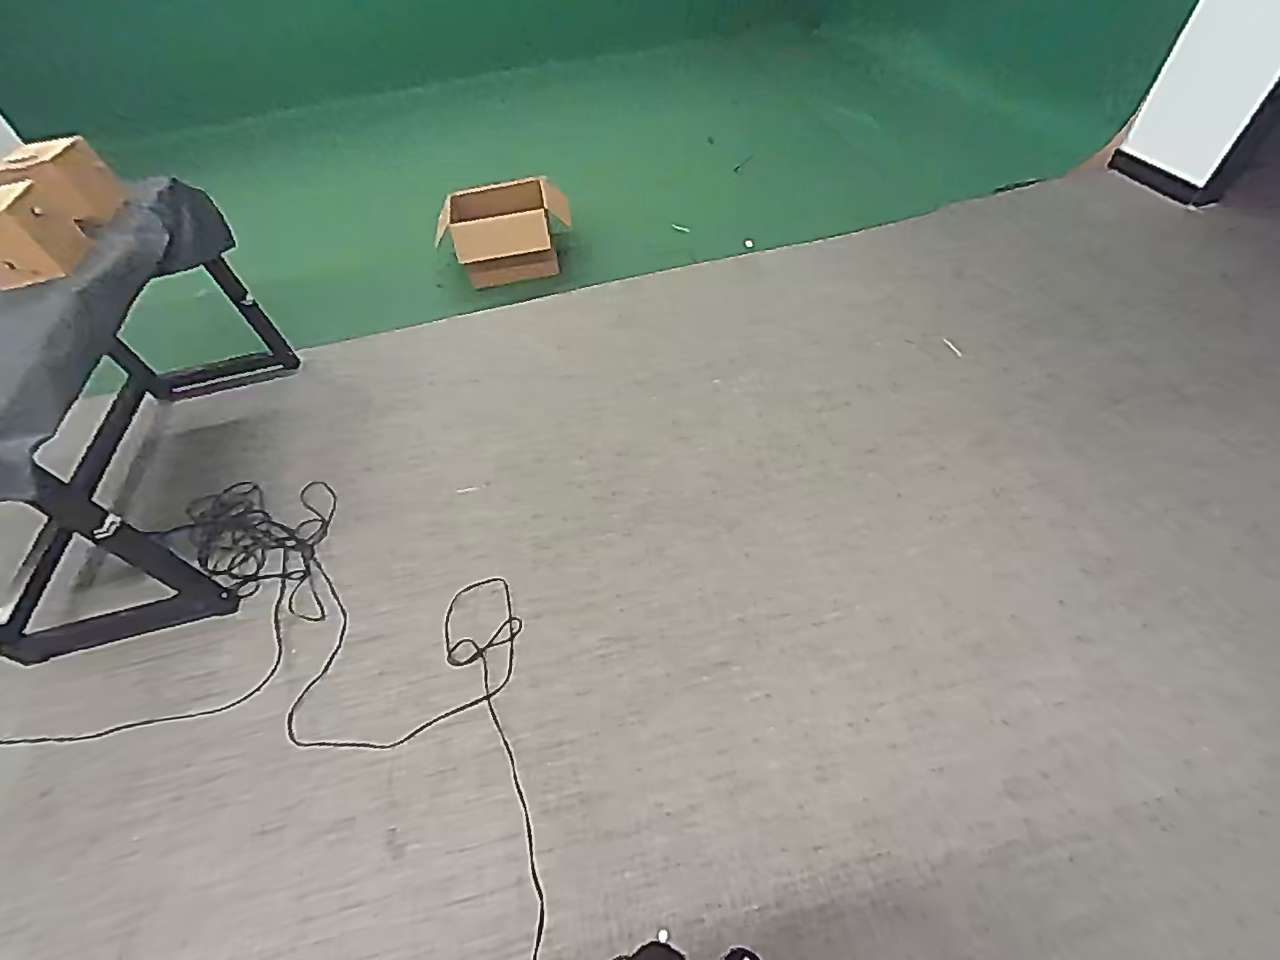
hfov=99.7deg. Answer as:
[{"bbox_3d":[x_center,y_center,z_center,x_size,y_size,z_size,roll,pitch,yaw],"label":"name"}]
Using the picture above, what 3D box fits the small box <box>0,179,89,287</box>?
[{"bbox_3d":[-1.533,-0.607,1.333,0.168,0.176,0.179,-16,53,-6],"label":"small box"}]
